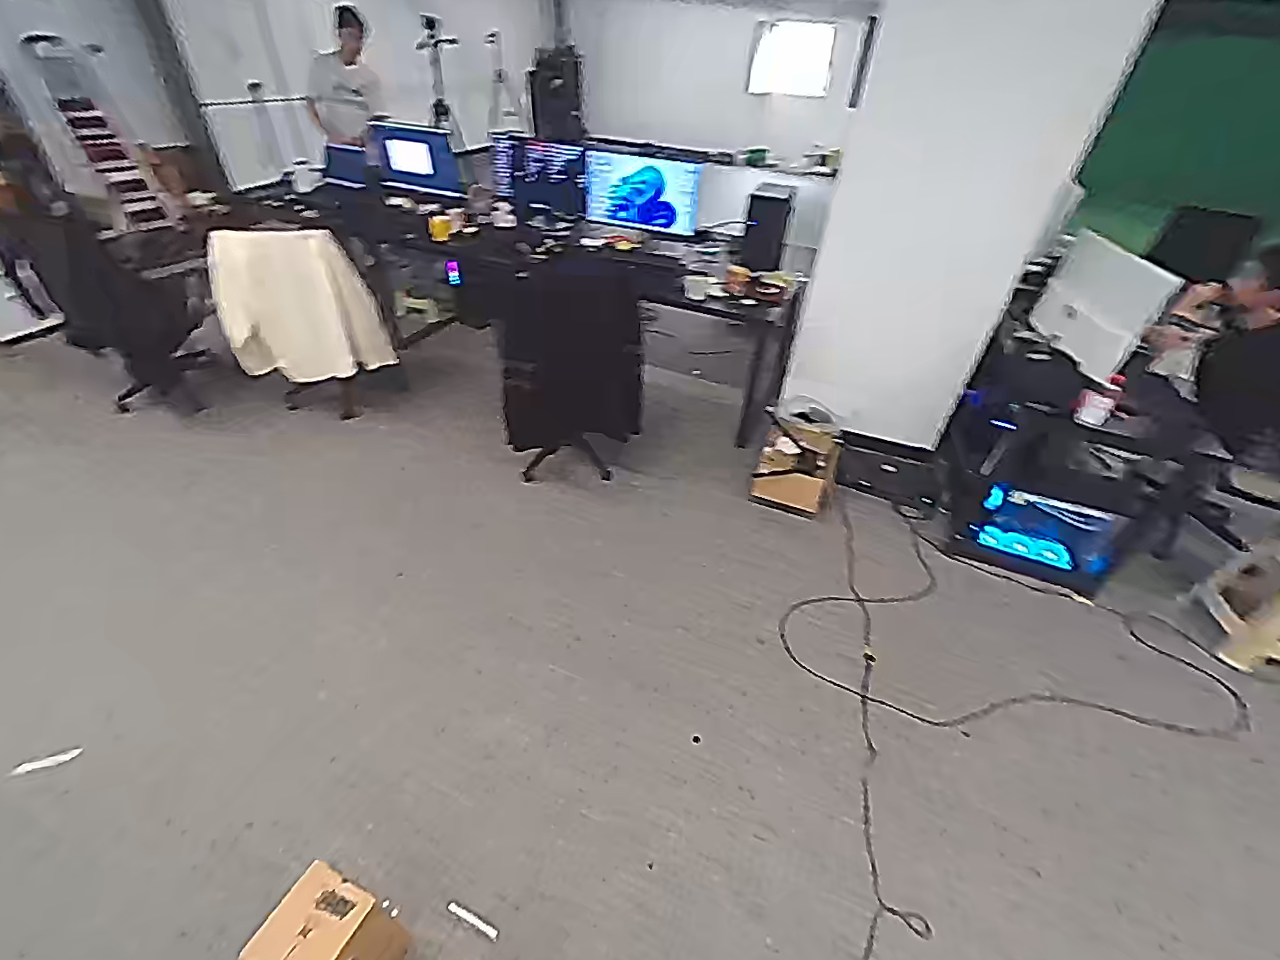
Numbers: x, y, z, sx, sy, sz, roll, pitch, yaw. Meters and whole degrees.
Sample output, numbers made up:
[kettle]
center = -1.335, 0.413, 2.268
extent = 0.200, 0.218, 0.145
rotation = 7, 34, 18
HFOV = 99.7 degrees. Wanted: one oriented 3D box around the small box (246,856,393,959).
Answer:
[small box]
center = -0.624, 0.911, 1.082
extent = 0.168, 0.176, 0.179
rotation = 19, 42, 18
